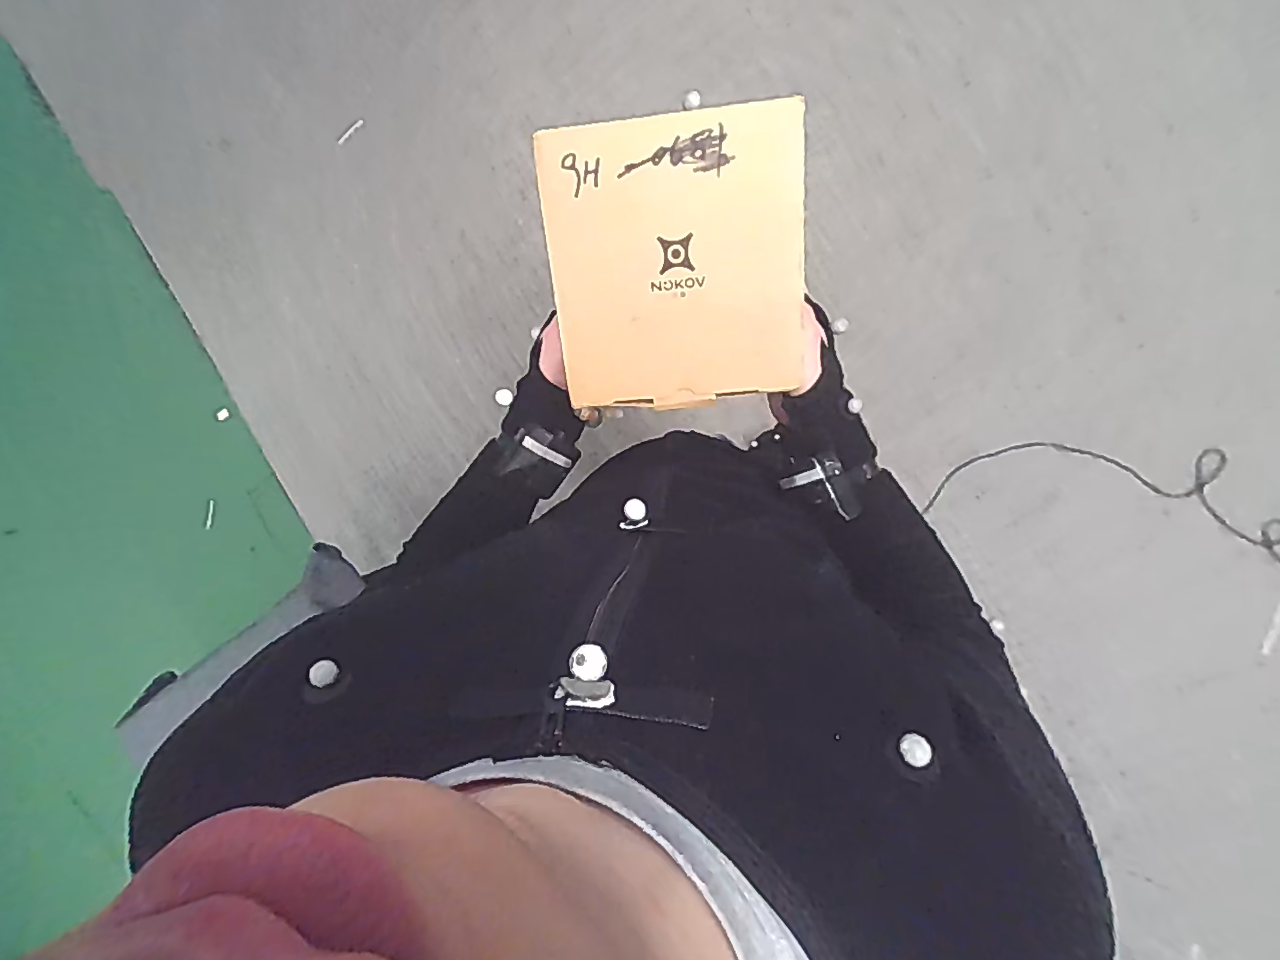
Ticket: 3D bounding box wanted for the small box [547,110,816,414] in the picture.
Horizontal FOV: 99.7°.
[{"bbox_3d":[0.036,-0.163,0.430,0.168,0.176,0.179,-4,111,5],"label":"small box"}]
